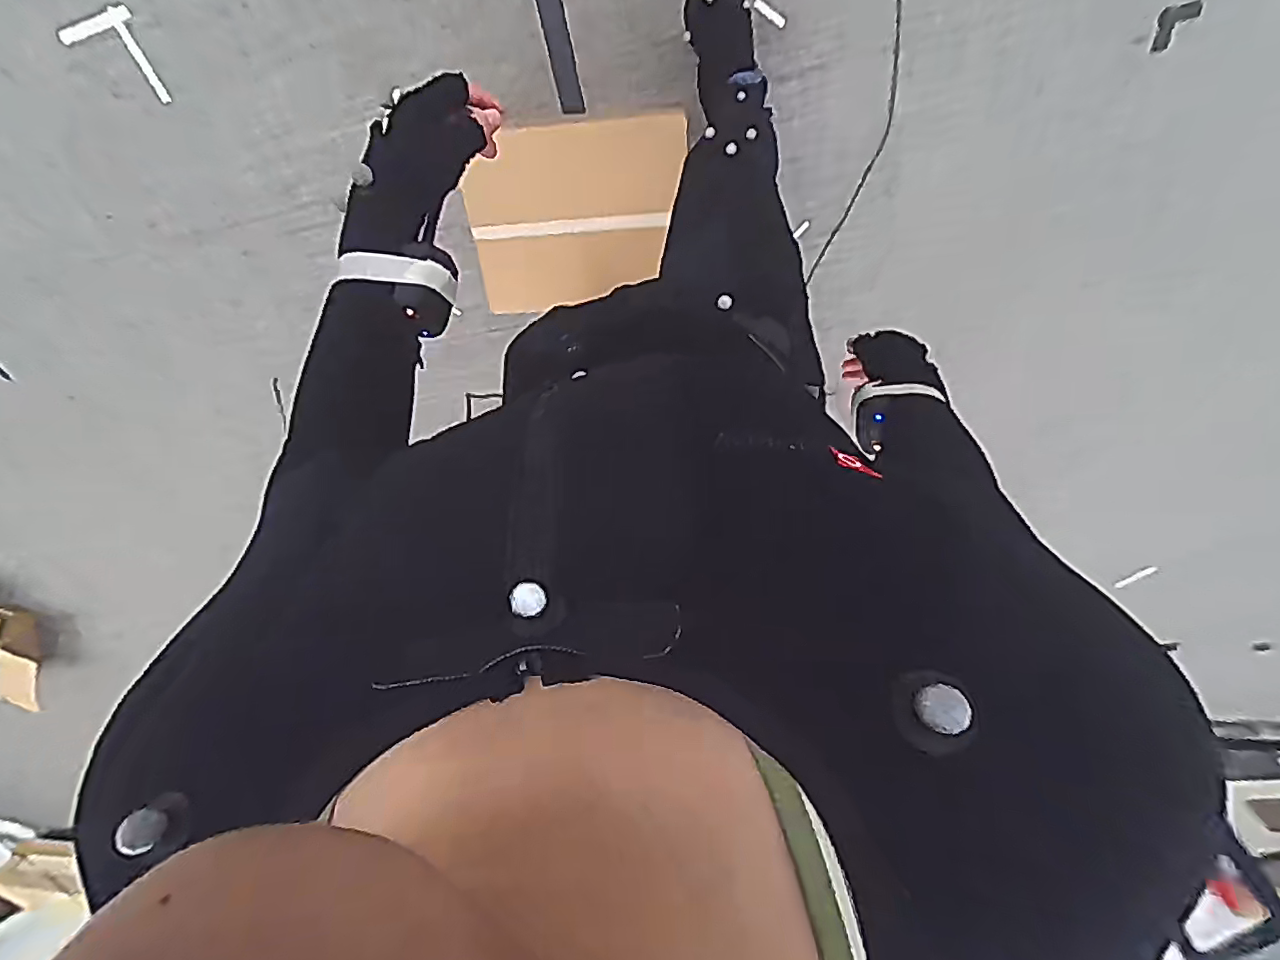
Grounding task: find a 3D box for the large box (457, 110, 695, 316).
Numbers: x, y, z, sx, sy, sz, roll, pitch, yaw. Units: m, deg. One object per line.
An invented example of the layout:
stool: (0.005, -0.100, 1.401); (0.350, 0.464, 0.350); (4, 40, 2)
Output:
large box: (-0.097, -0.551, 1.106); (0.408, 0.320, 0.320); (-1, 128, 5)
